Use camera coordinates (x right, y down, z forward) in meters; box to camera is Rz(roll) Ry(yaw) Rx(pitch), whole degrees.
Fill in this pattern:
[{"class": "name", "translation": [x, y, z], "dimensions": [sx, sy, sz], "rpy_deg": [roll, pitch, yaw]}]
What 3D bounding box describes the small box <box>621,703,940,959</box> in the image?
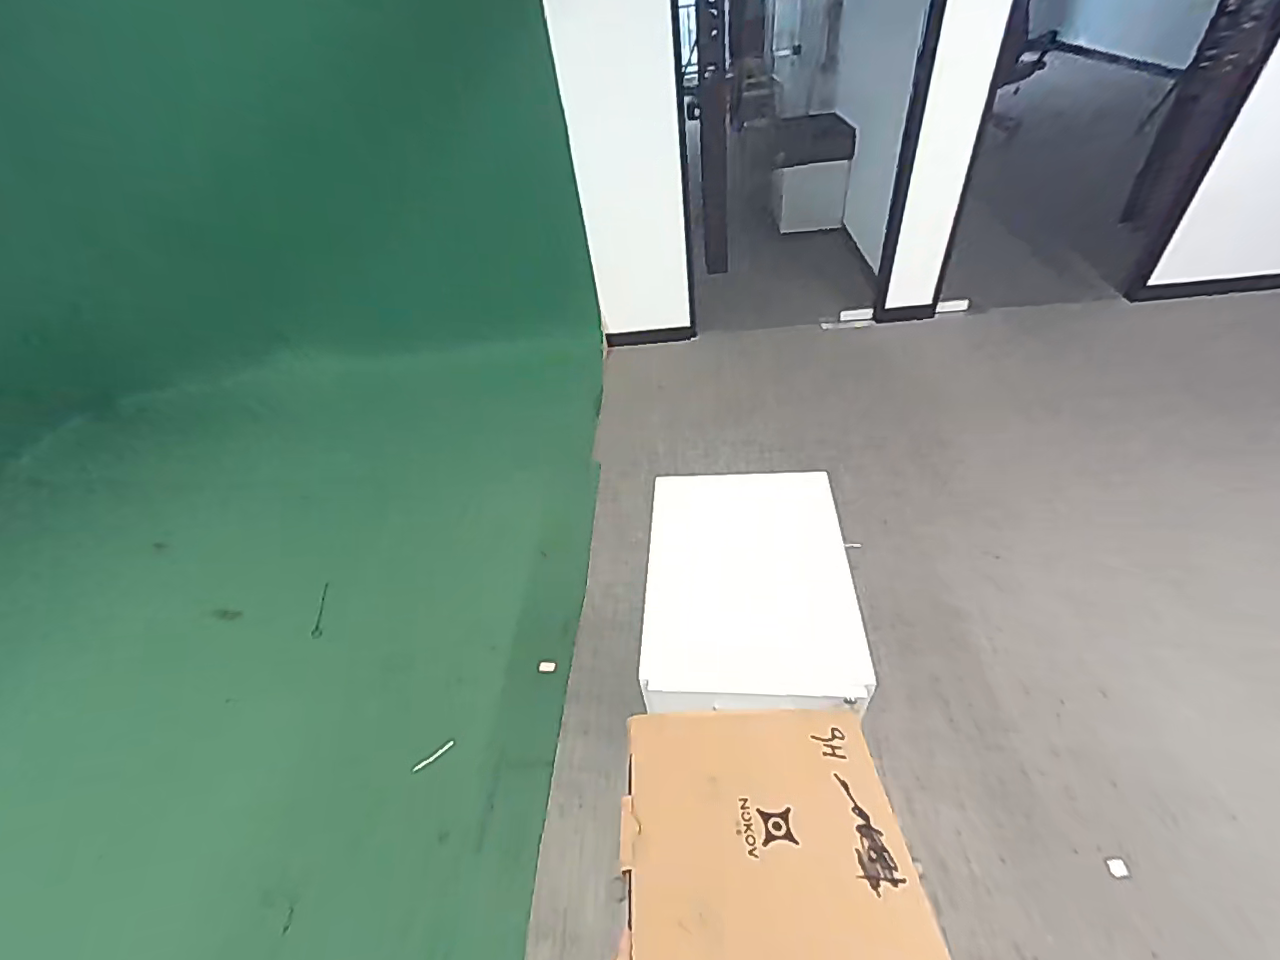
[{"class": "small box", "translation": [0.078, 0.289, 0.399], "dimensions": [0.179, 0.176, 0.168], "rpy_deg": [-1, 33, 0]}]
